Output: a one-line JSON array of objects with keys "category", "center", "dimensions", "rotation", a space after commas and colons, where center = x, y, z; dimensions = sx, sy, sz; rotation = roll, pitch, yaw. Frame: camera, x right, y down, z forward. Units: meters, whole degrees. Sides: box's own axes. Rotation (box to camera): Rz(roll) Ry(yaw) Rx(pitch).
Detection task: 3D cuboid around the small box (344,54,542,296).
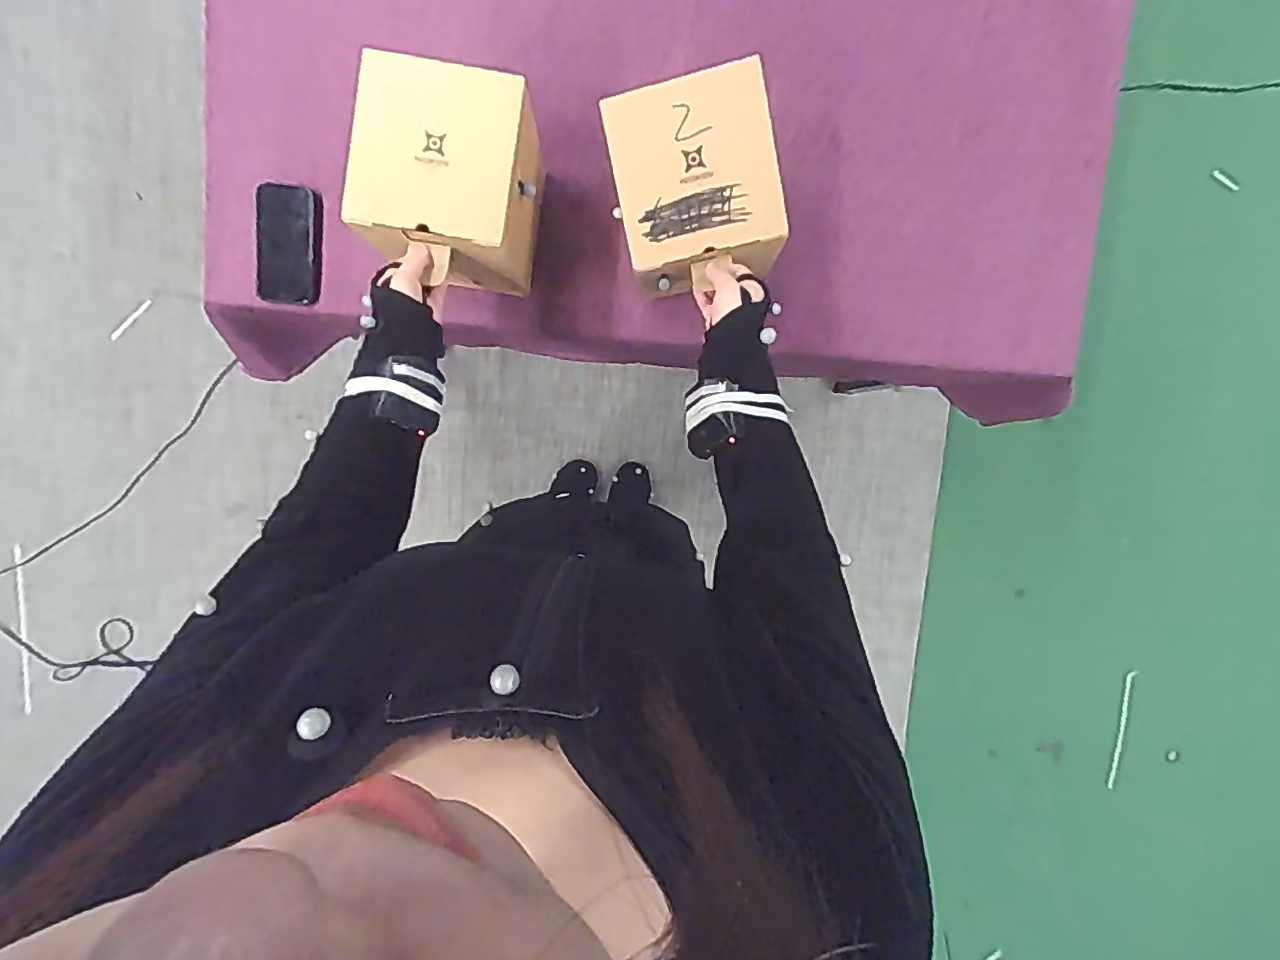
[{"category": "small box", "center": [-0.215, -0.339, 0.636], "dimensions": [0.168, 0.176, 0.179], "rotation": [9, 92, -3]}]
